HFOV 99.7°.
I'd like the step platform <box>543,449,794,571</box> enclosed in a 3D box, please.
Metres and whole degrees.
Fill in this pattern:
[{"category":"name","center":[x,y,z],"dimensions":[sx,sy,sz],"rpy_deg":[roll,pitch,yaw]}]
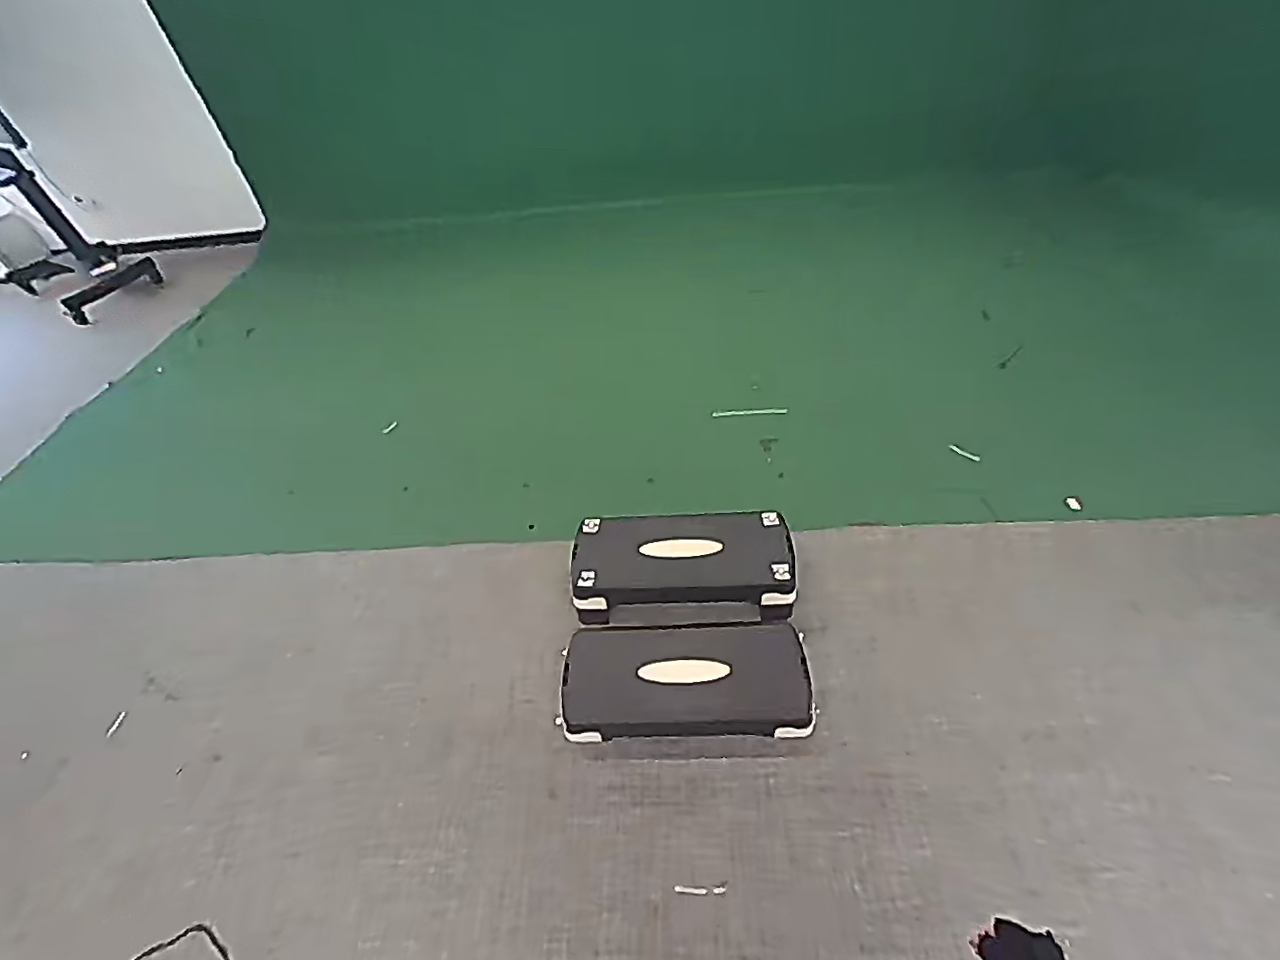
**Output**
[{"category":"step platform","center":[0.079,0.090,1.556],"dimensions":[0.684,0.204,0.286],"rpy_deg":[-3,47,4]}]
